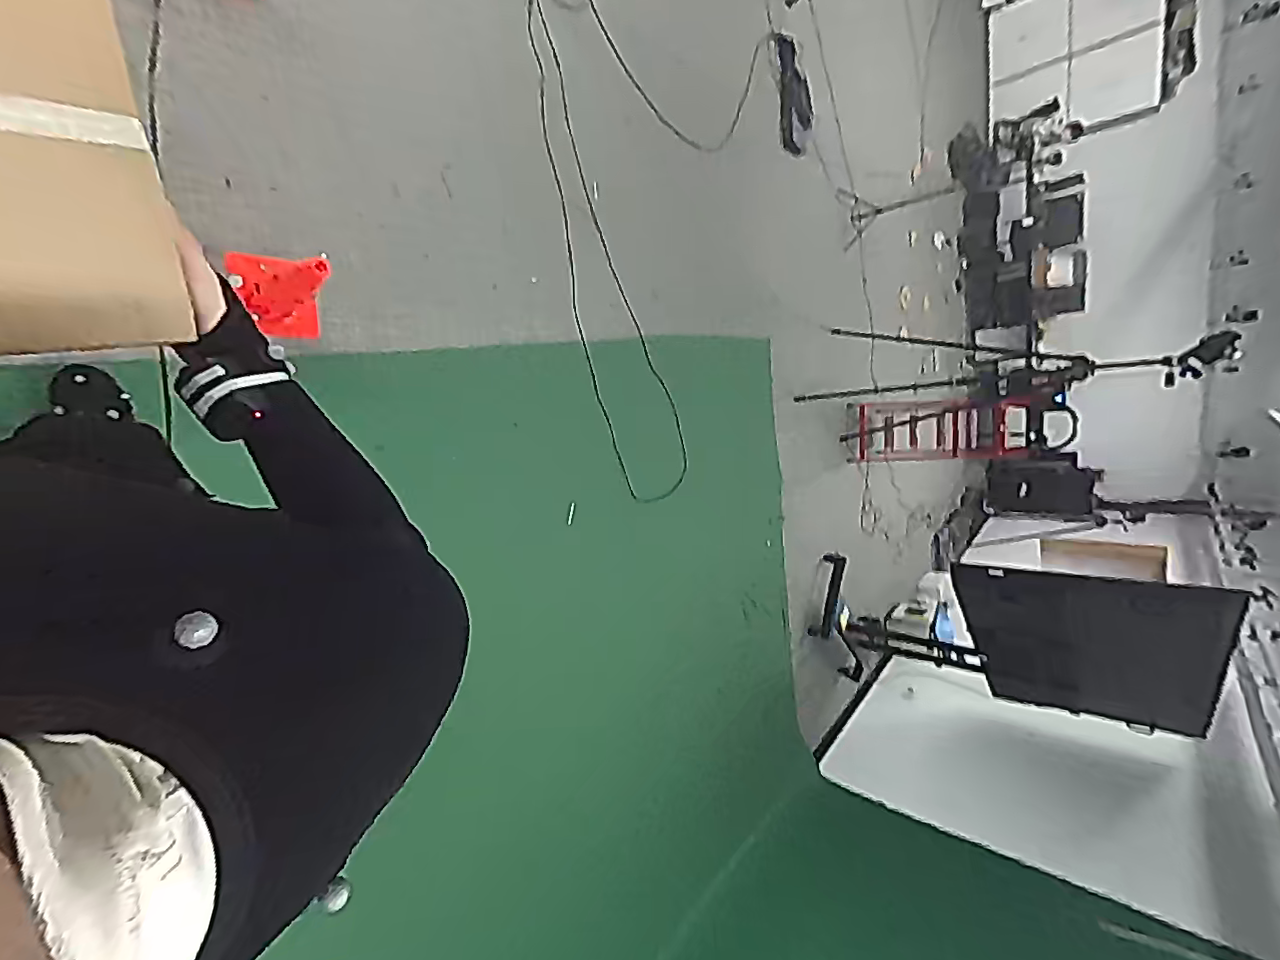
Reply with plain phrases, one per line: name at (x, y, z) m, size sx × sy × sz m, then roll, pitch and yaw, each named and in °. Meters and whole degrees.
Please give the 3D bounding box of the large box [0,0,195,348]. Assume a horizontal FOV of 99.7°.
large box at (-0.627, -0.254, 0.357) m, size 0.408 × 0.320 × 0.320 m, roll -25°, pitch 125°, yaw -49°

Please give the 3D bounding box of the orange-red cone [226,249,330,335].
orange-red cone at (-0.834, -0.481, 1.307) m, size 0.199 × 0.360 × 0.198 m, roll -8°, pitch 99°, yaw -49°
